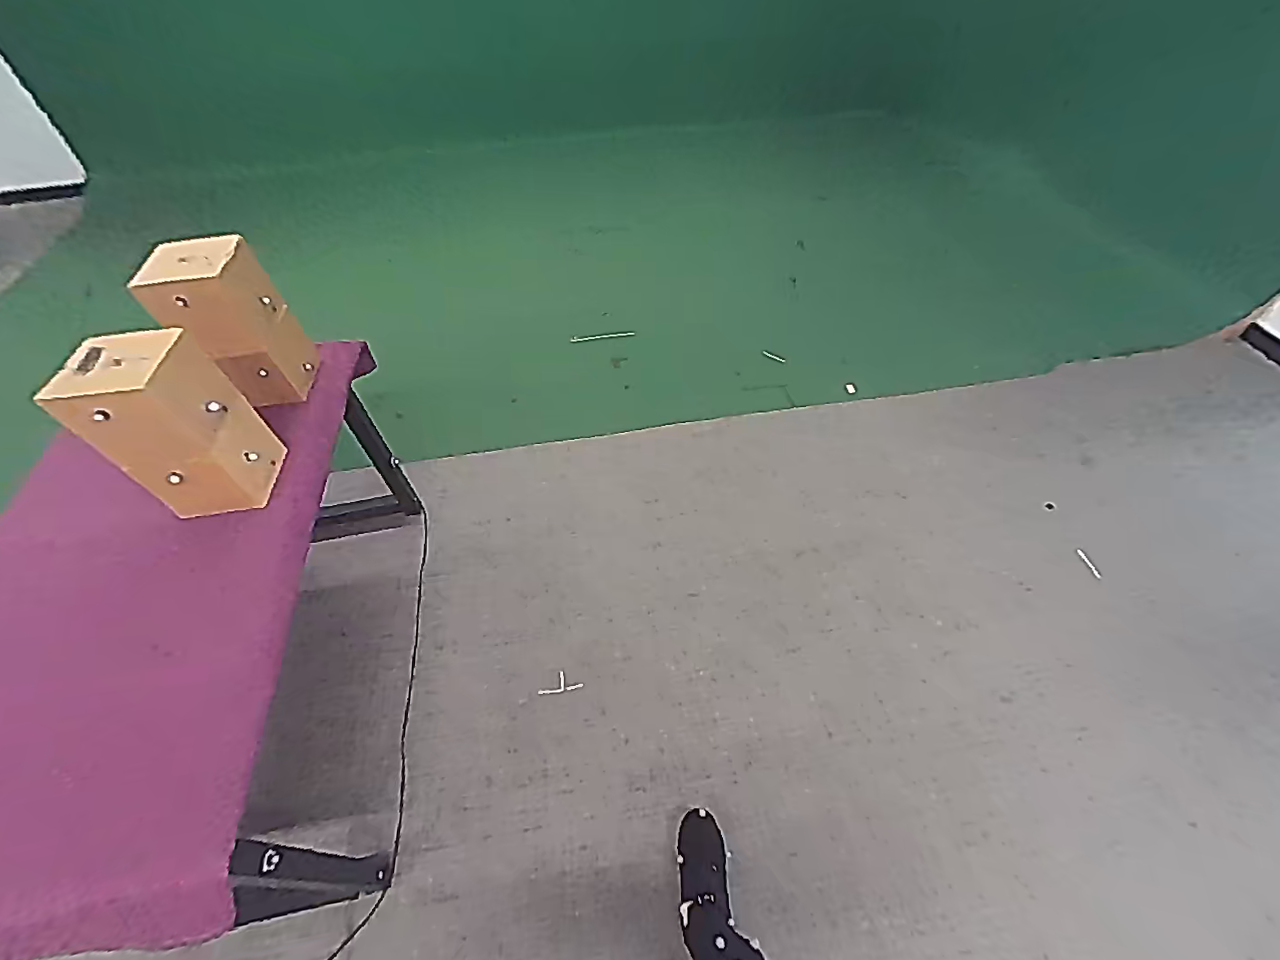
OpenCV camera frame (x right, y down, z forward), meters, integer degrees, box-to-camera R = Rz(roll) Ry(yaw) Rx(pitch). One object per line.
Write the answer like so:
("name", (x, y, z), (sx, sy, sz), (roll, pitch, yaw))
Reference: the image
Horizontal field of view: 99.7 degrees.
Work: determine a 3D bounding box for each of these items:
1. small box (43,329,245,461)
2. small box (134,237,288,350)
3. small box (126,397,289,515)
("small box", (-0.879, -0.149, 0.982), (0.179, 0.176, 0.168), (-6, 52, -1))
("small box", (-0.921, -0.401, 1.181), (0.179, 0.176, 0.168), (-8, 53, -3))
("small box", (-0.867, -0.046, 1.109), (0.179, 0.176, 0.168), (-8, 52, -1))
